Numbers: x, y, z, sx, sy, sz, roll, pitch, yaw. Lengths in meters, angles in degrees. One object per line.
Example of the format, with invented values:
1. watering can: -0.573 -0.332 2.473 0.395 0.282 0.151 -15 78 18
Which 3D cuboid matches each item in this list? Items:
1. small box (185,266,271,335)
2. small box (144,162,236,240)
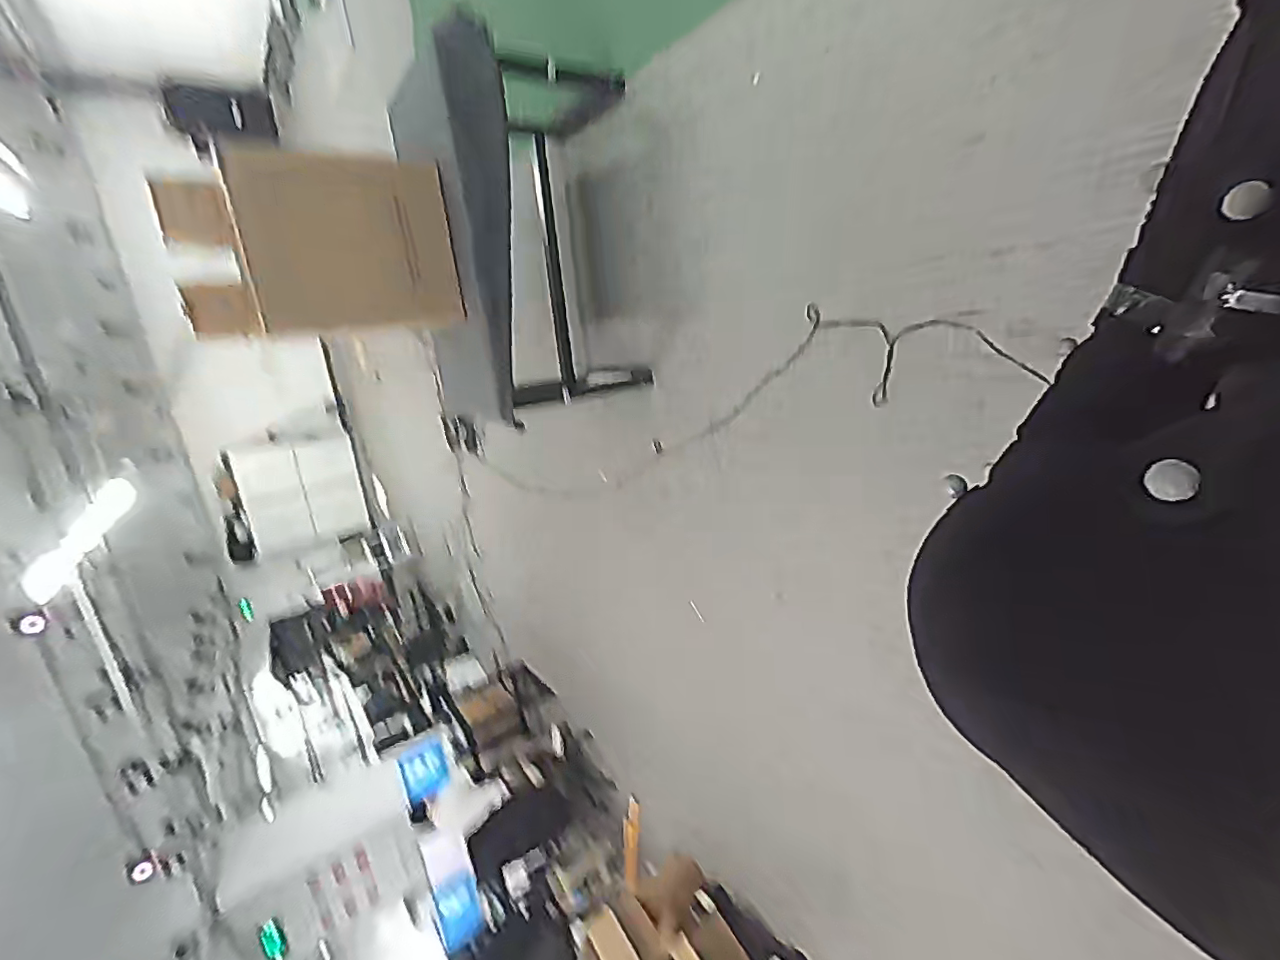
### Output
1. small box: -1.254 -0.548 1.653 0.179 0.176 0.168 7 112 52
2. small box: -1.295 -0.801 1.568 0.179 0.176 0.168 12 112 52
